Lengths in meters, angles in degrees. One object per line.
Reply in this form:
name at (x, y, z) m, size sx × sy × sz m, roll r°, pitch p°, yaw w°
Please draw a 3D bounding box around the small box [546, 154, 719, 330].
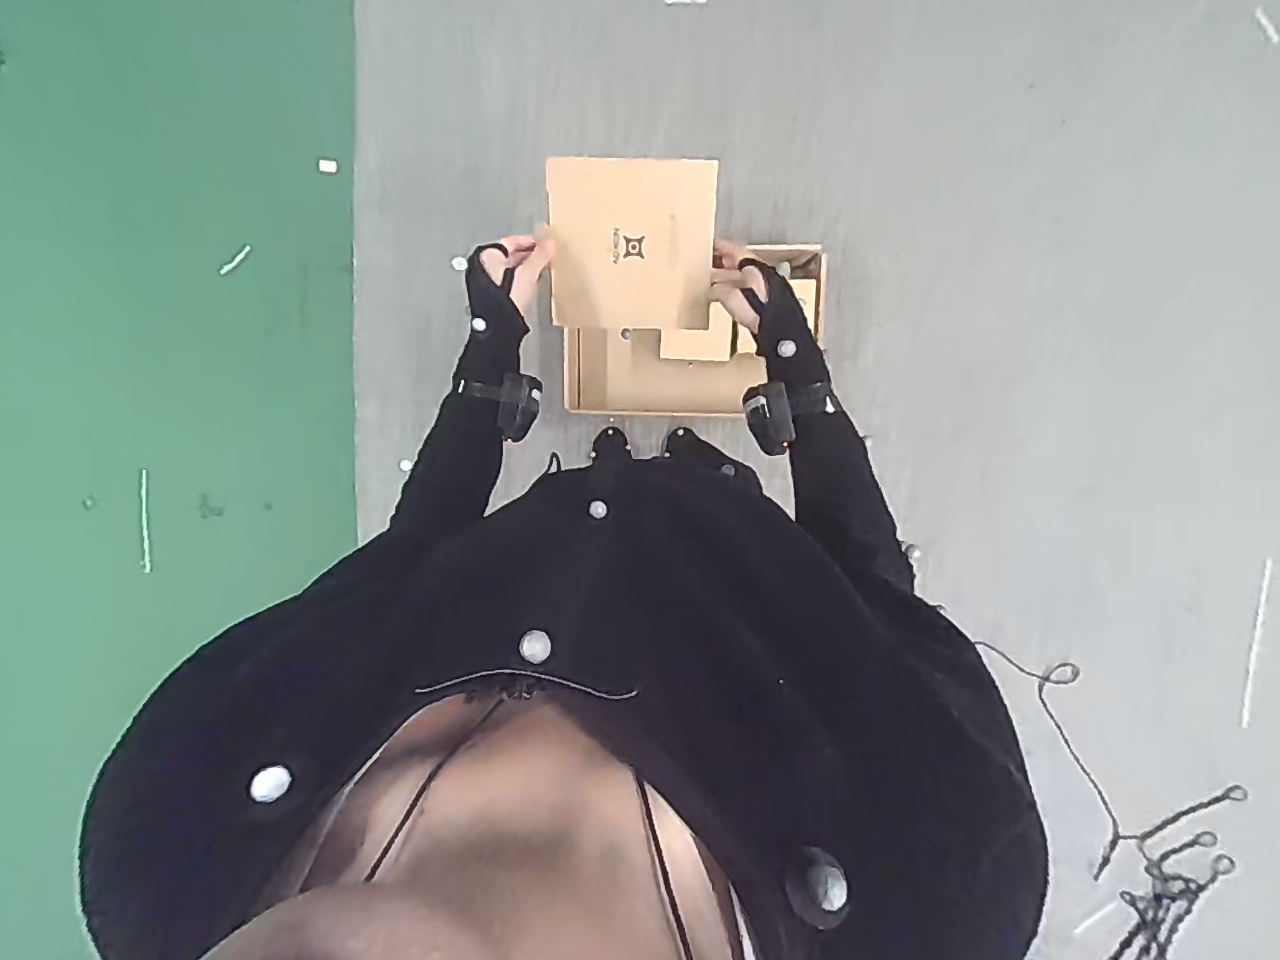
small box at (-0.009, -0.270, 0.639) m, size 0.179 × 0.176 × 0.168 m, roll 2°, pitch 110°, yaw 0°
